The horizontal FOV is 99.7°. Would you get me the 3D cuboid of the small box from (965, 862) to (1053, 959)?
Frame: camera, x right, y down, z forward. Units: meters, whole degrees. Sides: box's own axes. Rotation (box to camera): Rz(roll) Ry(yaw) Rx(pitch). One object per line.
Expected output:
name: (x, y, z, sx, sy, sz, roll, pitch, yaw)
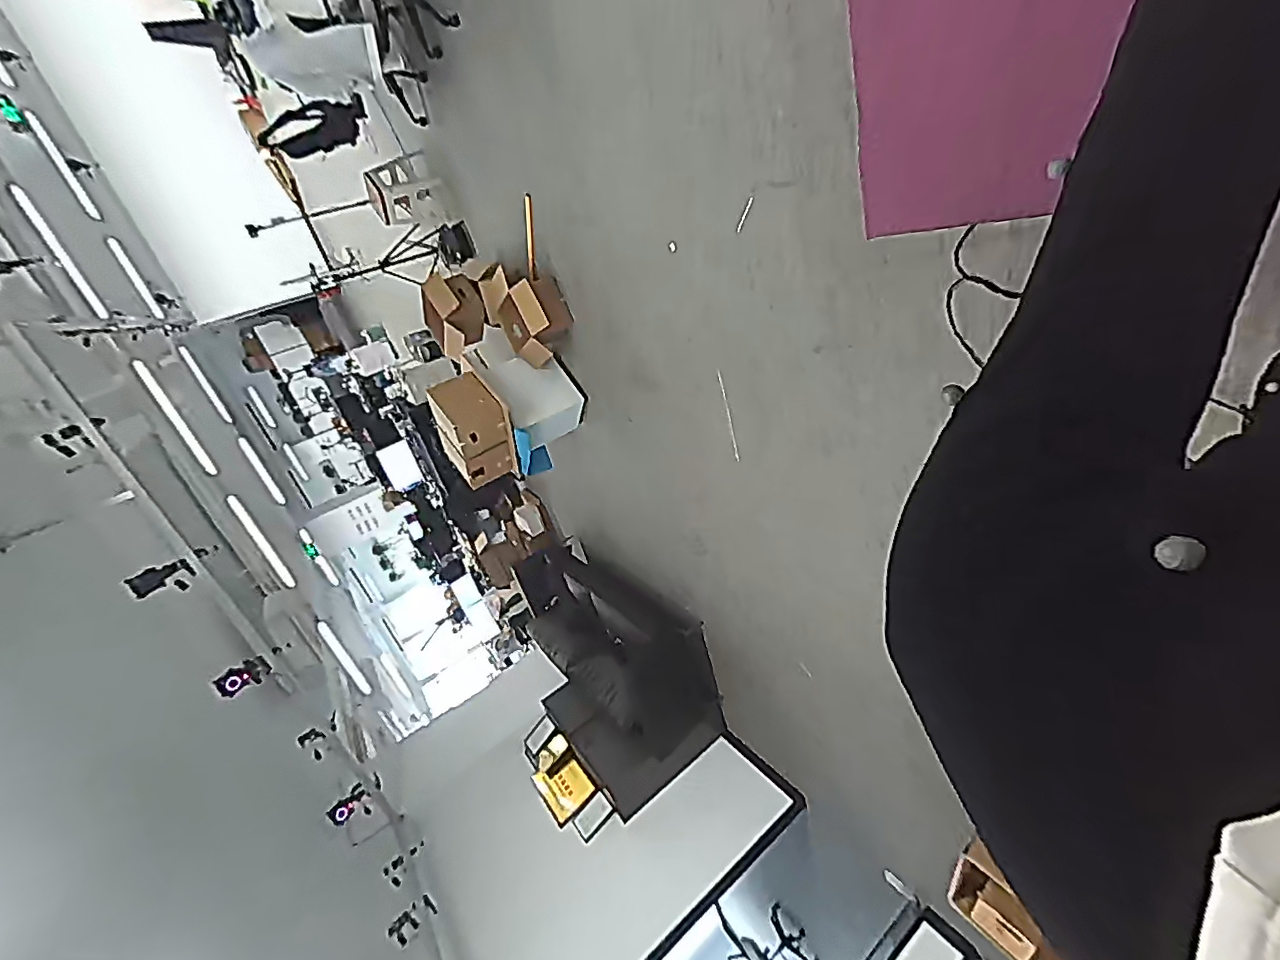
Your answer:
small box: (1.180, 1.376, 1.727, 0.168, 0.176, 0.179, 32, 143, 46)
